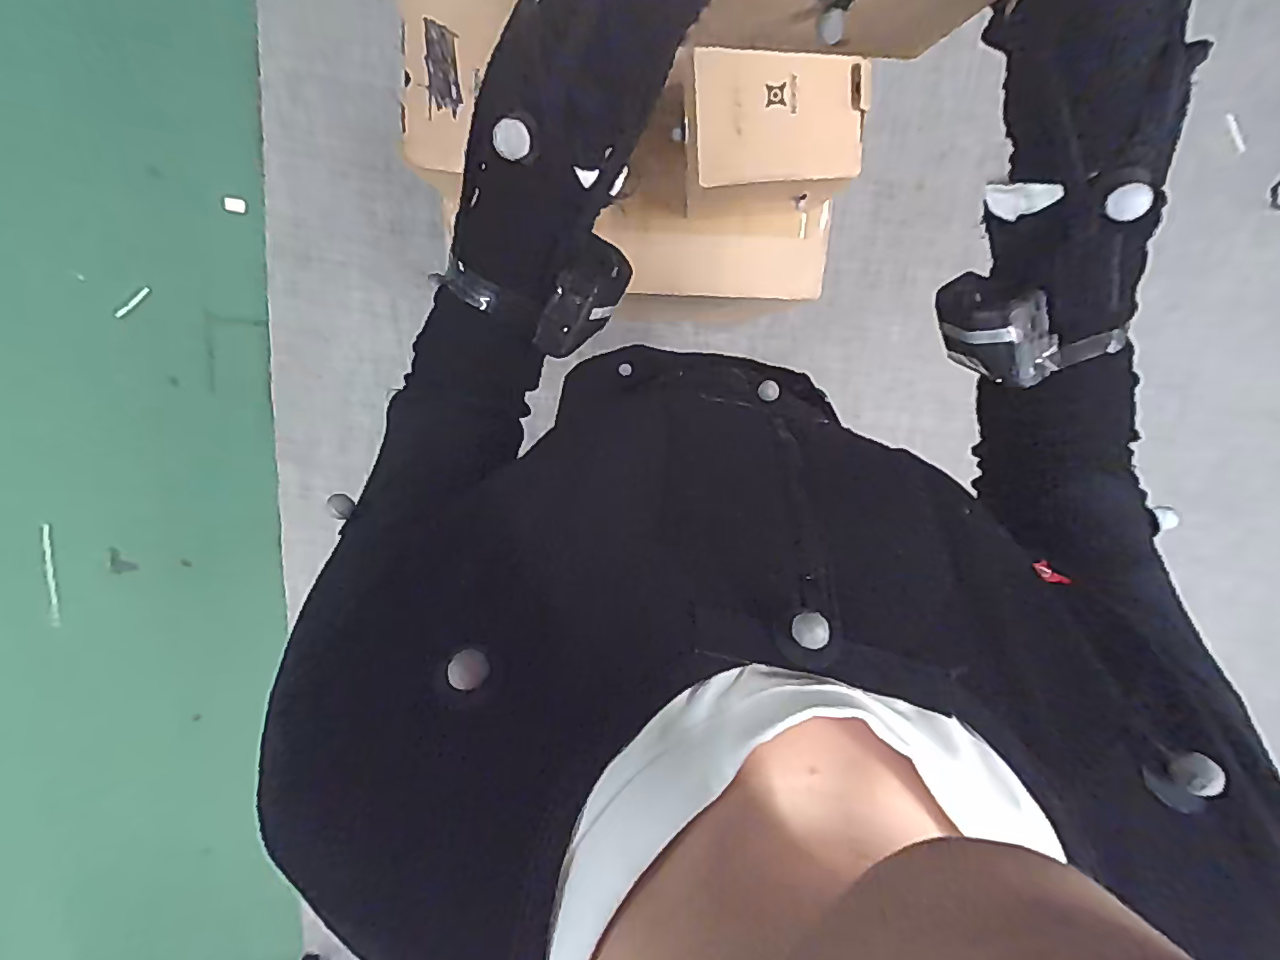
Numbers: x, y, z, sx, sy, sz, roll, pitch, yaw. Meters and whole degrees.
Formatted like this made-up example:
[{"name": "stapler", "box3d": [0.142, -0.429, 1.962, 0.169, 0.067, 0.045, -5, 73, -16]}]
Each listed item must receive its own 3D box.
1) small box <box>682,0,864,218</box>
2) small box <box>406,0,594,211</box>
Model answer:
[{"name": "small box", "box3d": [0.144, -0.420, 0.639, 0.179, 0.176, 0.168, -4, 104, 3]}, {"name": "small box", "box3d": [-0.156, -0.430, 0.640, 0.179, 0.176, 0.168, 6, 106, -1]}]
